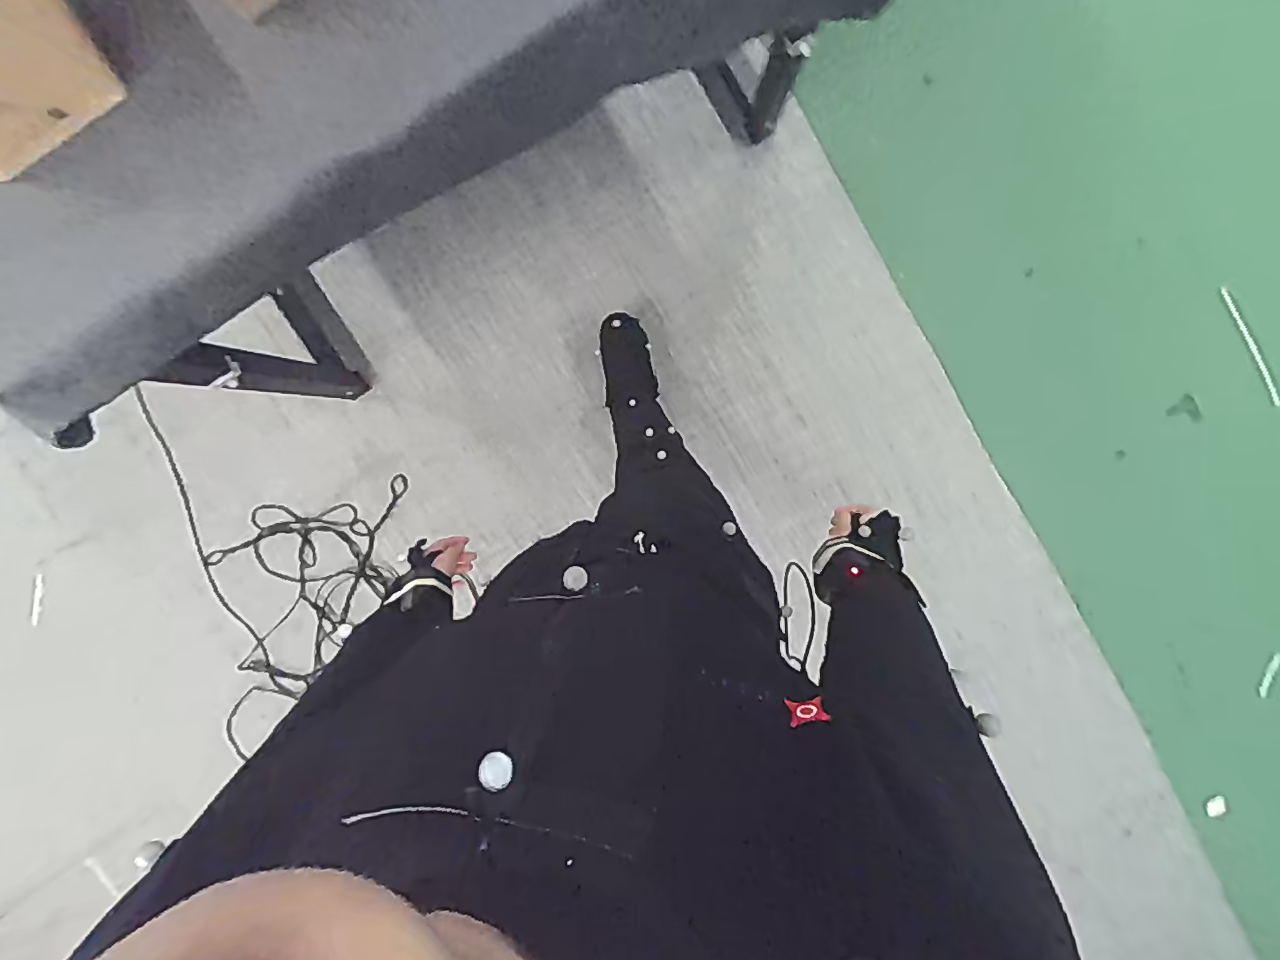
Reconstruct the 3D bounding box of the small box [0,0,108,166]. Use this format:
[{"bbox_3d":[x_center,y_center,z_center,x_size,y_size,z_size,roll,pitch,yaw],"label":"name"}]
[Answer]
[{"bbox_3d":[-0.640,-0.410,0.466,0.168,0.176,0.179,-33,93,3],"label":"small box"}]
